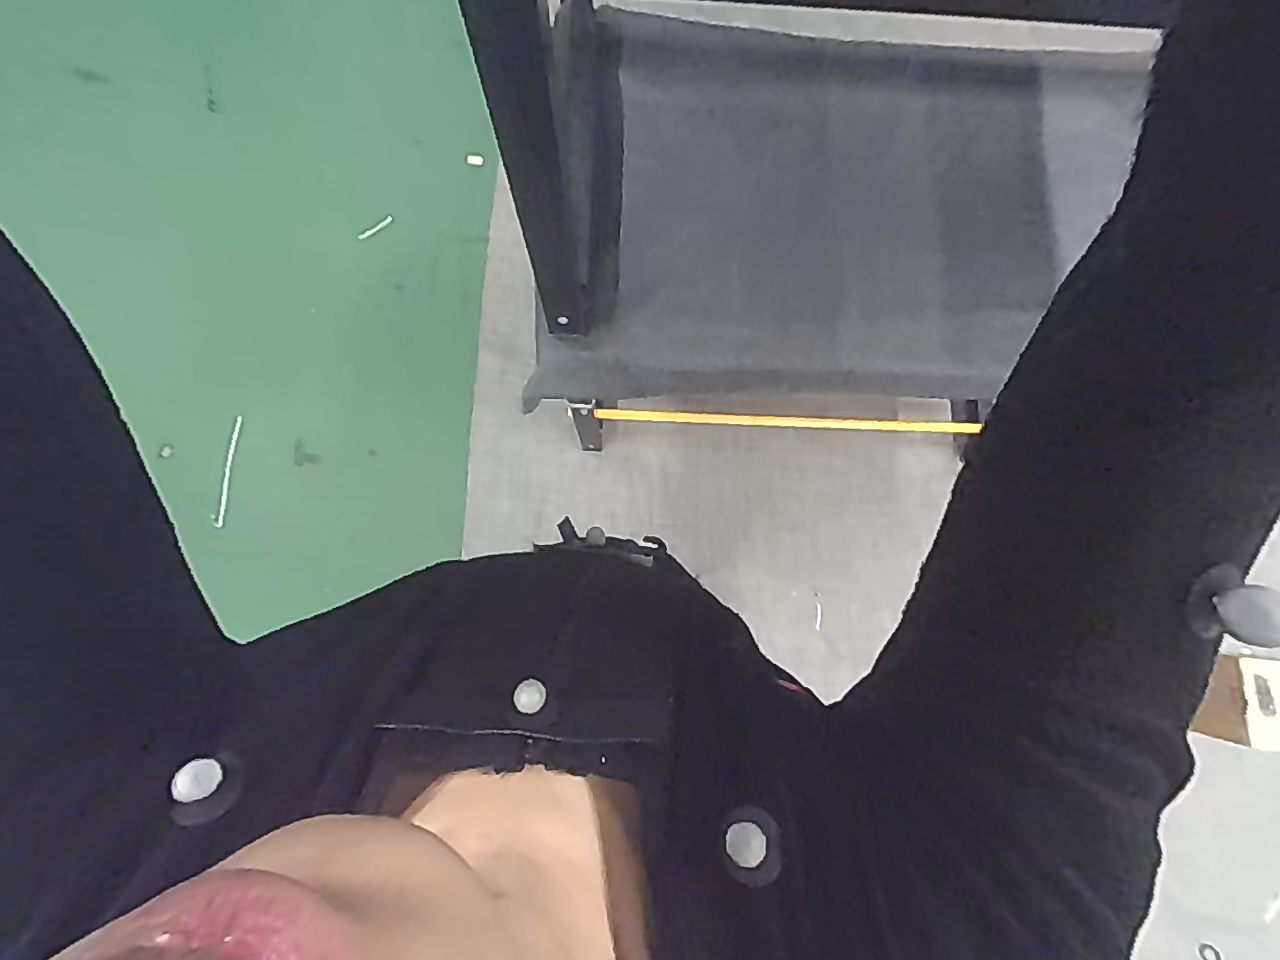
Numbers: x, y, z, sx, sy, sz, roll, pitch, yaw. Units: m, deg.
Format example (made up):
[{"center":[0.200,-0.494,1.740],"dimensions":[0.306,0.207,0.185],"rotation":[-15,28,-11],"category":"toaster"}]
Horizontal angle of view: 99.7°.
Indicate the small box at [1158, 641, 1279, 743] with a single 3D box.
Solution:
[{"center":[1.215,0.428,1.106],"dimensions":[0.179,0.176,0.168],"rotation":[5,81,-2],"category":"small box"}]
